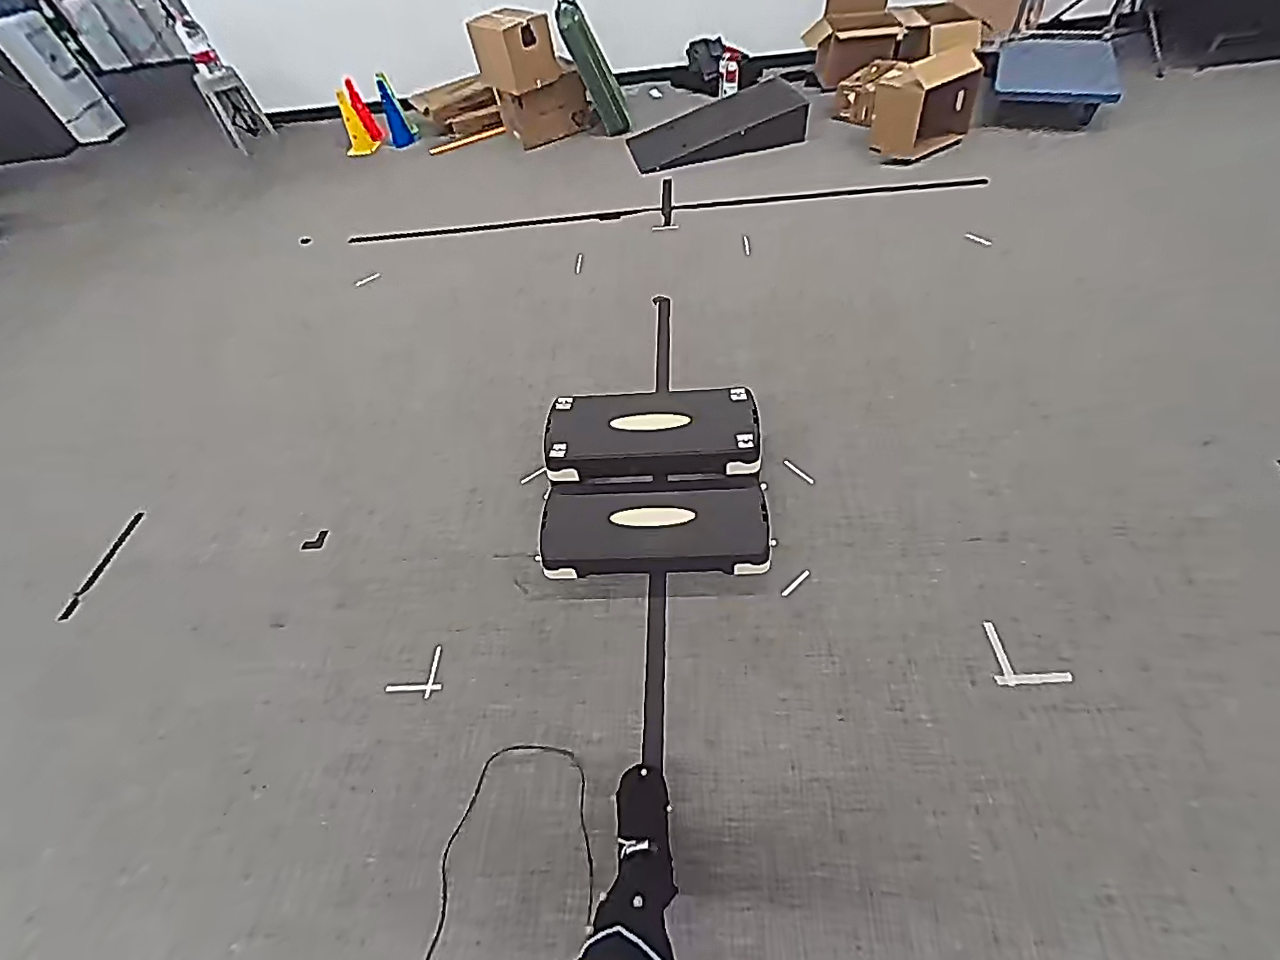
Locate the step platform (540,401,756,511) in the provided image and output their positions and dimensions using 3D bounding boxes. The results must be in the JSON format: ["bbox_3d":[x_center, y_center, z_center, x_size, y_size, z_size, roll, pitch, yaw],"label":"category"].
[{"bbox_3d":[0.023,-0.081,1.740,0.684,0.204,0.286,-3,53,4],"label":"step platform"}]
